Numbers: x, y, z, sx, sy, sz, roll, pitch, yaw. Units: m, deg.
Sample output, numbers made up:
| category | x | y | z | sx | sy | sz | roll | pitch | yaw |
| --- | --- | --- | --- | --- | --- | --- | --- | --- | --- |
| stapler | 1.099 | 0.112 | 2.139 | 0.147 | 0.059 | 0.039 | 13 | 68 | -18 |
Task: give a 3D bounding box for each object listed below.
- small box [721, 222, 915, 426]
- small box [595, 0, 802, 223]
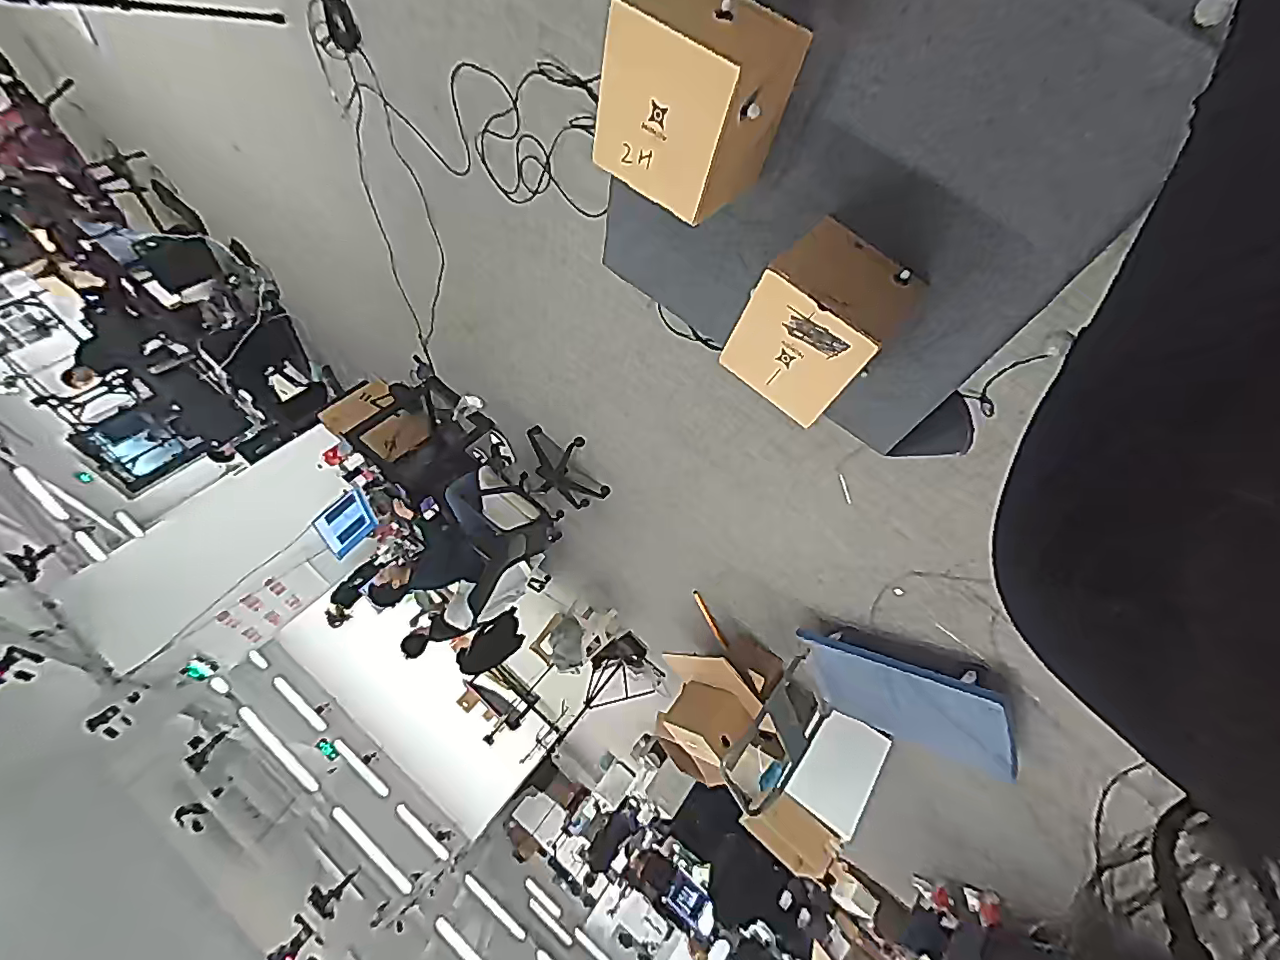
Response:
| category | x | y | z | sx | sy | sz | roll | pitch | yaw |
| --- | --- | --- | --- | --- | --- | --- | --- | --- | --- |
| small box | 0.246 | -0.216 | 0.746 | 0.168 | 0.176 | 0.179 | 40 | 150 | 8 |
| small box | 0.071 | -0.459 | 0.655 | 0.168 | 0.176 | 0.179 | 38 | 149 | 10 |
